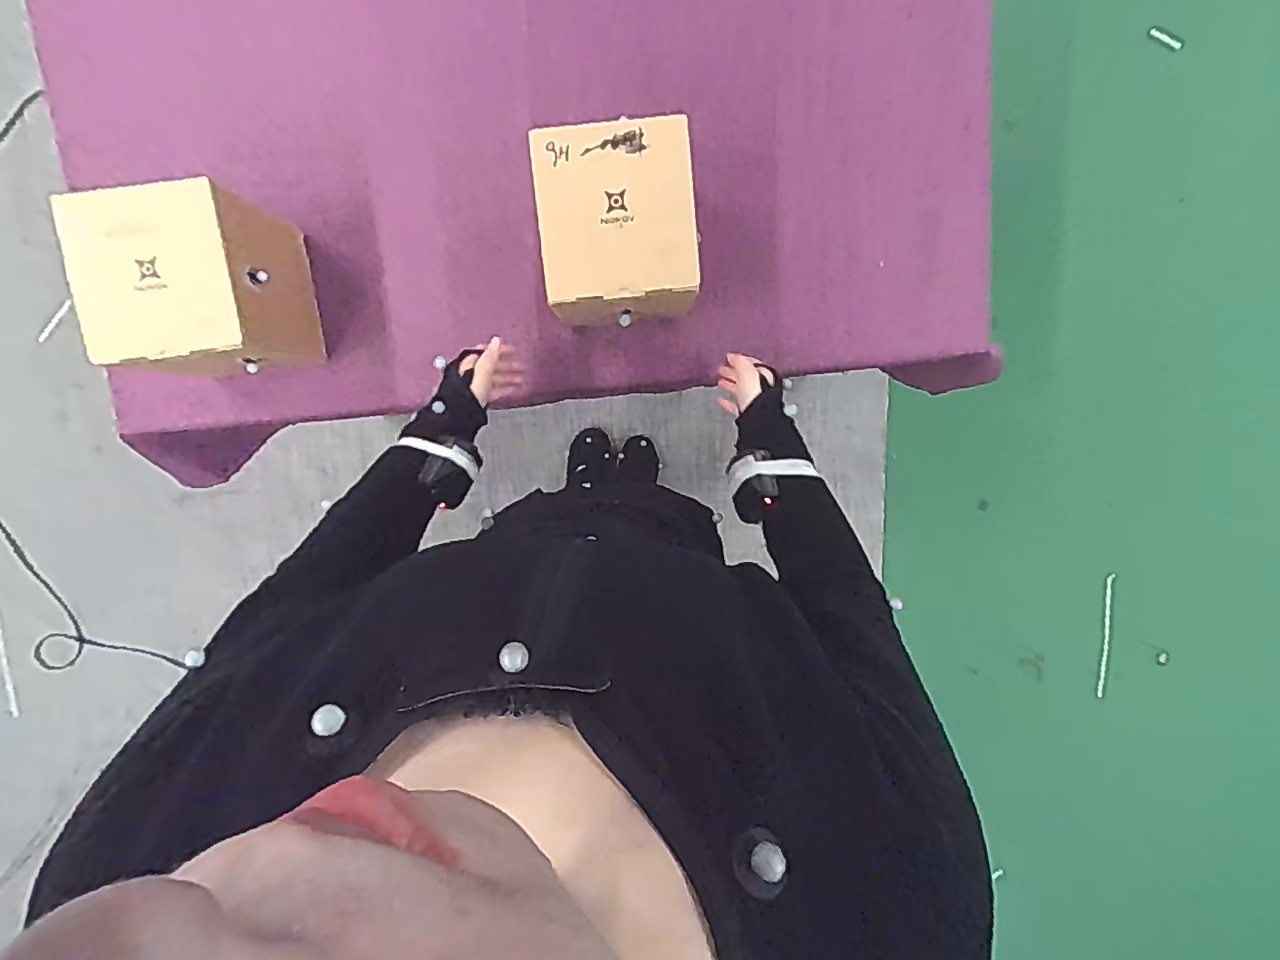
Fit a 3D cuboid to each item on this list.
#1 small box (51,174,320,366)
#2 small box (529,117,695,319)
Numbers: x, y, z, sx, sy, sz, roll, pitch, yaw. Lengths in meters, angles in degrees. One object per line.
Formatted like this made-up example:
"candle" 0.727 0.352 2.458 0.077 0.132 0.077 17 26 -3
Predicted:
"small box" -0.514 -0.232 0.643 0.168 0.176 0.179 -6 97 -1
"small box" -0.028 -0.293 0.645 0.168 0.176 0.179 -5 99 -1
